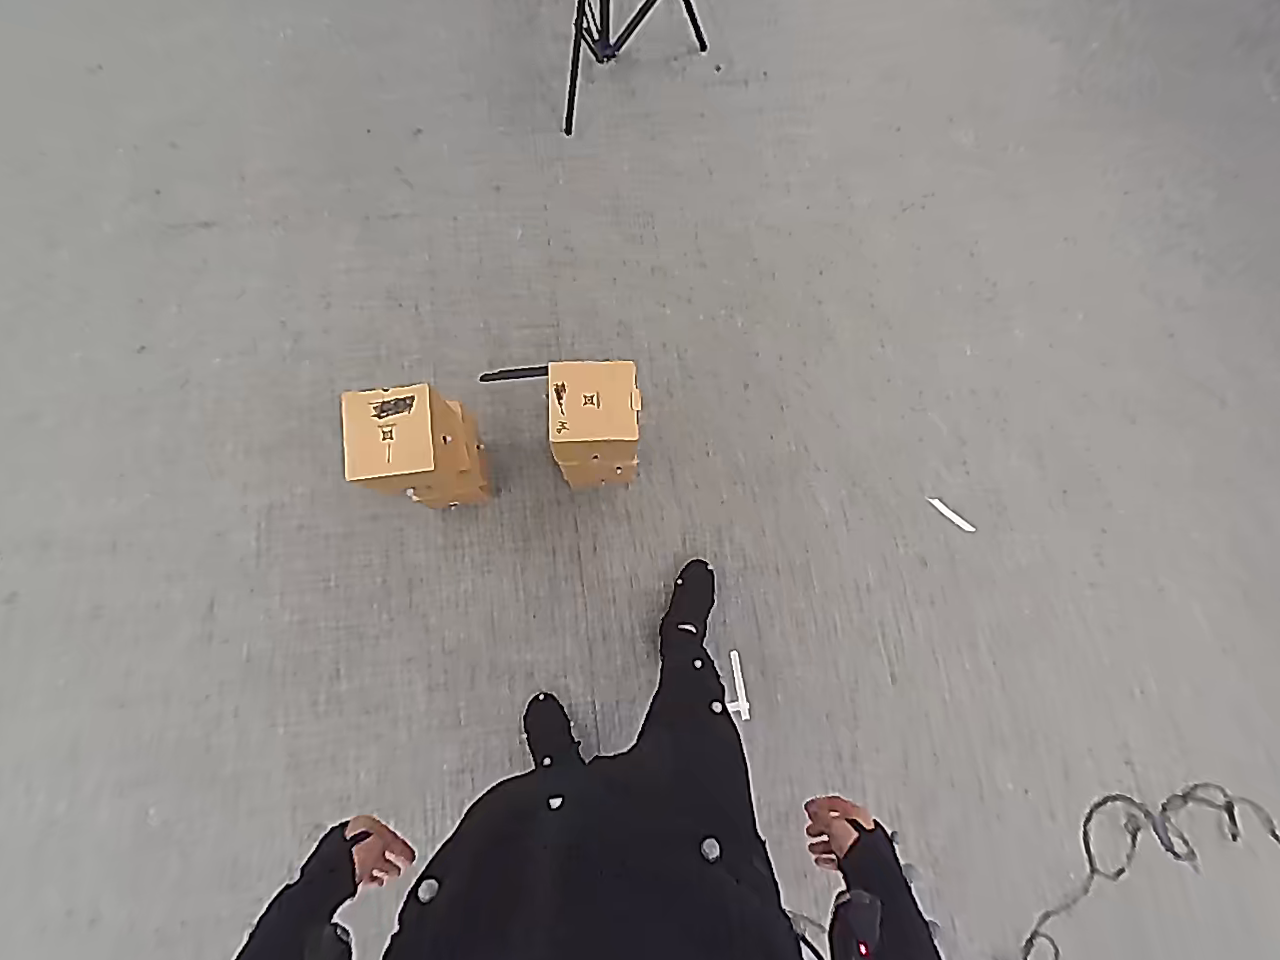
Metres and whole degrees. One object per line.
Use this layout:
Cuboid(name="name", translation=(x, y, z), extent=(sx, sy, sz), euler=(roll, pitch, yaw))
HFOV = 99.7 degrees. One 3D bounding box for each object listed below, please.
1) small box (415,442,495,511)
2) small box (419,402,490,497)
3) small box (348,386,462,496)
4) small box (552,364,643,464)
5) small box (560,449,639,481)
Cuboid(name="small box", translation=(-0.487, -0.026, 1.420), extent=(0.168, 0.176, 0.179), euler=(-9, 79, -5))
Cuboid(name="small box", translation=(-0.465, -0.065, 1.262), extent=(0.179, 0.176, 0.168), euler=(-11, 79, -5))
Cuboid(name="small box", translation=(-0.469, -0.073, 1.095), extent=(0.168, 0.176, 0.179), euler=(-7, 80, -3))
Cuboid(name="small box", translation=(-0.091, -0.133, 1.130), extent=(0.179, 0.176, 0.168), euler=(-1, 78, -5))
Cuboid(name="small box", translation=(-0.094, -0.094, 1.290), extent=(0.179, 0.176, 0.168), euler=(-1, 78, -4))
